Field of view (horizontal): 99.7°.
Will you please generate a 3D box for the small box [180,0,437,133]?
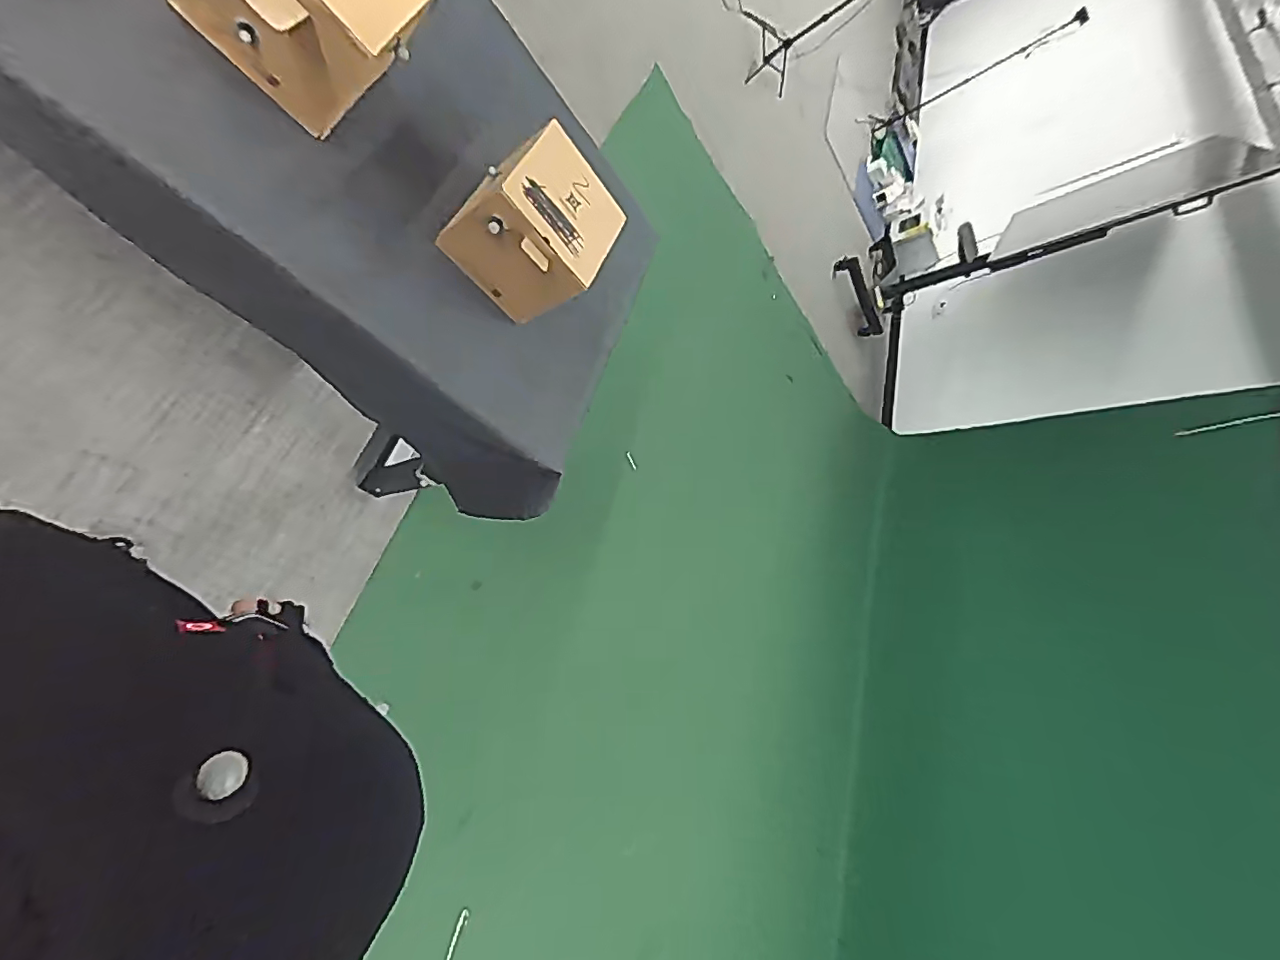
[{"bbox_3d":[-0.362,-0.541,0.599,0.168,0.176,0.179,40,57,-38],"label":"small box"}]
